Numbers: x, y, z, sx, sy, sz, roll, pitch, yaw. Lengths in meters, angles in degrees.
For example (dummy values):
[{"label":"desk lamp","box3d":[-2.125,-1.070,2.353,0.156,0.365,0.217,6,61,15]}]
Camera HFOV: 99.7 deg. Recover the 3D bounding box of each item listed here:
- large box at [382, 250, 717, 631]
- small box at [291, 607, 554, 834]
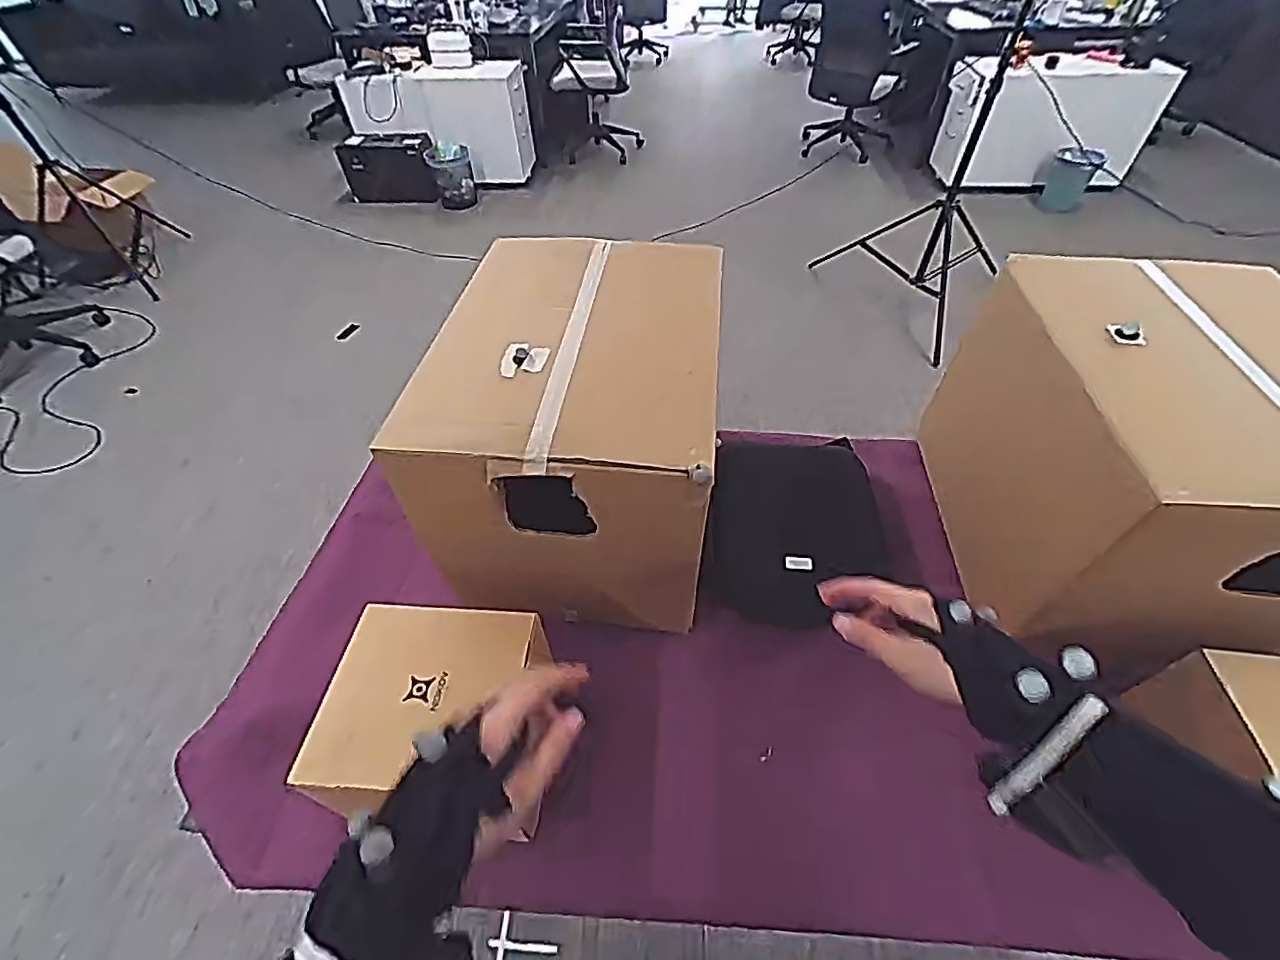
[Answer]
[{"label":"large box","box3d":[-0.068,-0.058,0.724,0.320,0.320,0.408,3,51,5]},{"label":"small box","box3d":[-0.196,0.247,0.551,0.179,0.176,0.168,2,48,3]}]
